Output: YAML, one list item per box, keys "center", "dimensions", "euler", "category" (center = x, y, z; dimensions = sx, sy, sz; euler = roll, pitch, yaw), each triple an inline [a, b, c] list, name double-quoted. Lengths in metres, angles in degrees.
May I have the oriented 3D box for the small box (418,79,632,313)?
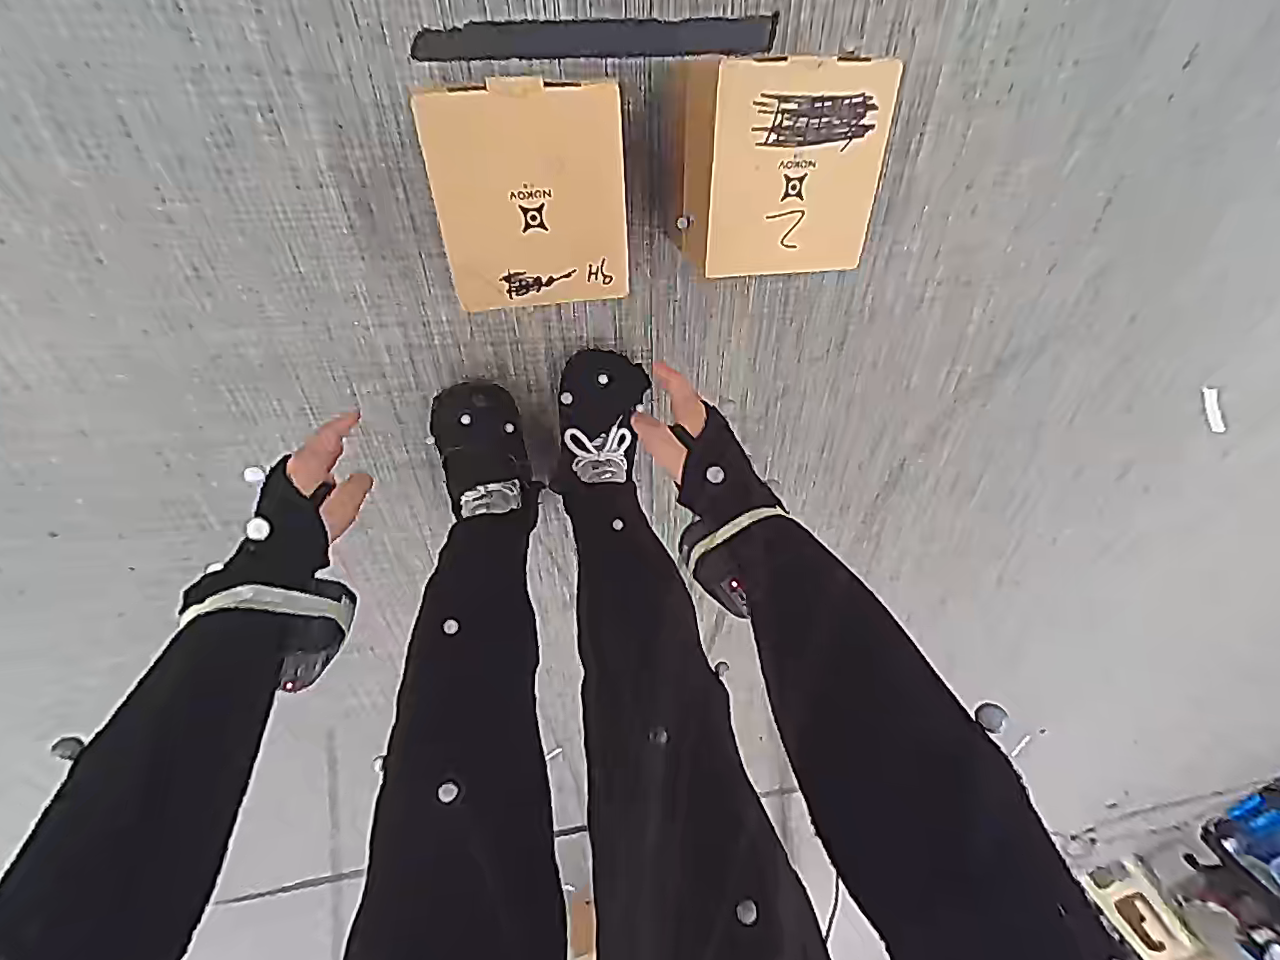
- center: [-0.105, -0.284, 0.536]
  dimensions: [0.168, 0.176, 0.179]
  euler: [-8, 127, -7]
  category: "small box"

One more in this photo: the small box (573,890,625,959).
- center: [-0.149, 1.608, 1.938]
  dimensions: [0.168, 0.176, 0.179]
  euler: [-7, 127, -7]
  category: "small box"
